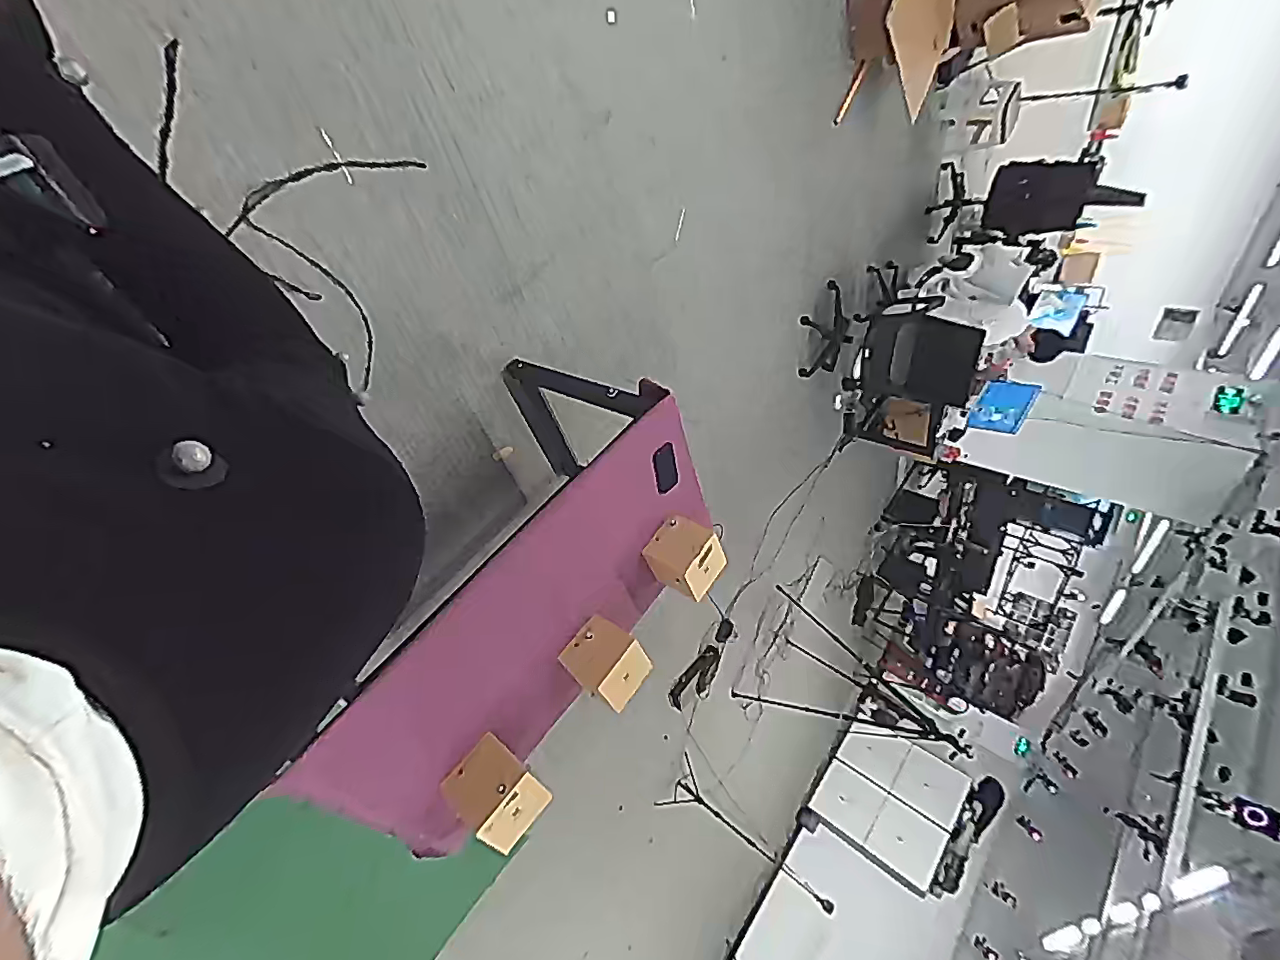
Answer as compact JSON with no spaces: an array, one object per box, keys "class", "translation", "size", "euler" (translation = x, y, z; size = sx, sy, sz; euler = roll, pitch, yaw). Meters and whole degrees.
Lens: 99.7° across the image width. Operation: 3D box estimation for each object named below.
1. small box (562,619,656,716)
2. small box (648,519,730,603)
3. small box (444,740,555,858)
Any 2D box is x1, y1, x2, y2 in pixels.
[{"class":"small box","translation":[-0.085,0.520,1.519],"size":[0.168,0.176,0.179],"euler":[-48,138,-25]},{"class":"small box","translation":[0.148,0.242,1.658],"size":[0.168,0.176,0.179],"euler":[-50,140,-21]},{"class":"small box","translation":[-0.344,0.780,1.333],"size":[0.168,0.176,0.179],"euler":[-46,138,-27]}]
